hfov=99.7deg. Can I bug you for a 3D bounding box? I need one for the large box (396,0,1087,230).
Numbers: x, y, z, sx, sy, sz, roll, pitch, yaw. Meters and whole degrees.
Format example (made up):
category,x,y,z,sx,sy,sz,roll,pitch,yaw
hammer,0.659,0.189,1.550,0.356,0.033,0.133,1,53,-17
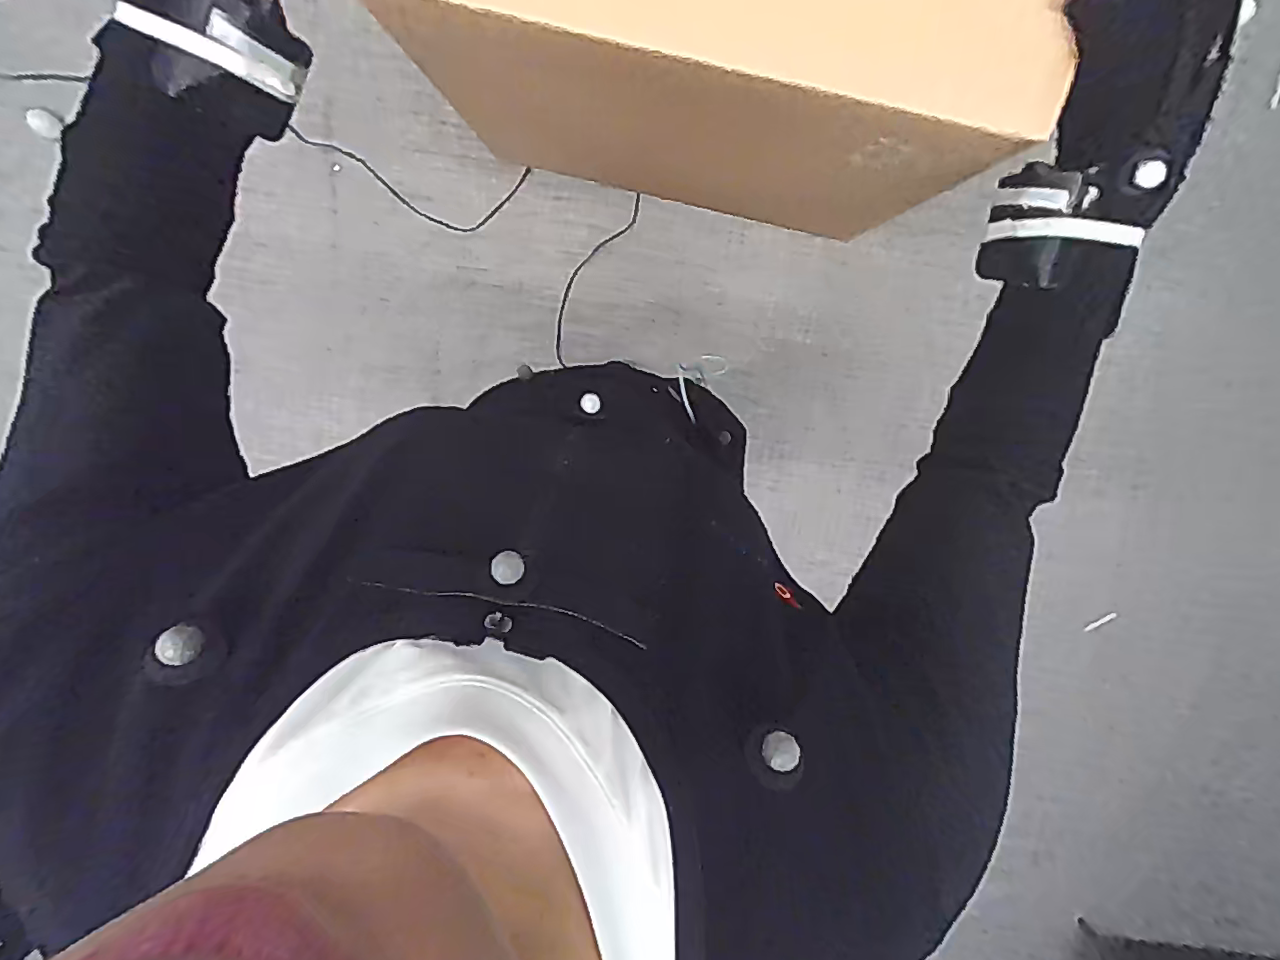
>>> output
category,x,y,z,sx,sy,sz,roll,pitch,yaw
large box,0.072,-0.422,0.416,0.408,0.320,0.320,12,105,-3
